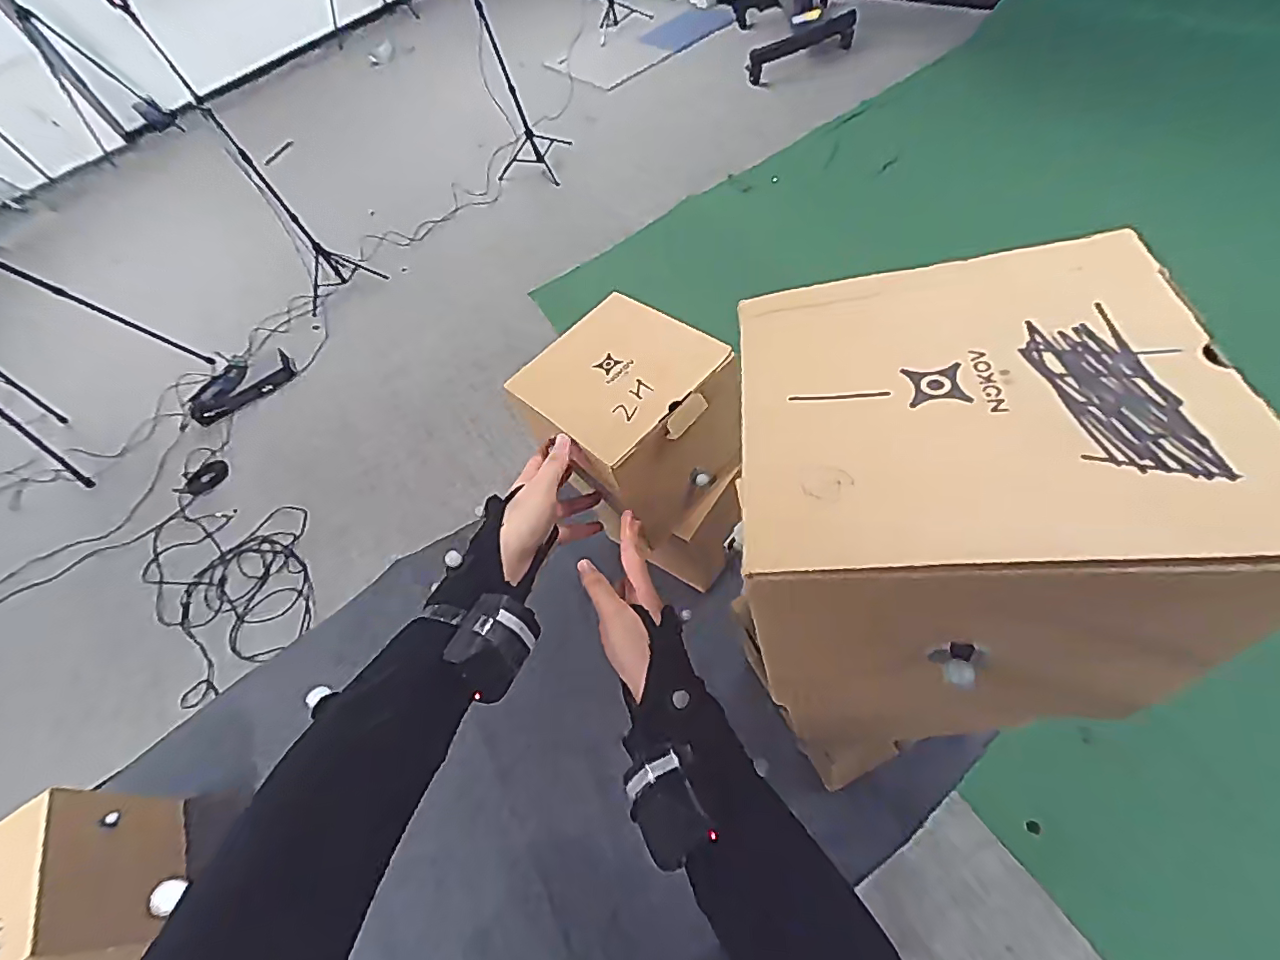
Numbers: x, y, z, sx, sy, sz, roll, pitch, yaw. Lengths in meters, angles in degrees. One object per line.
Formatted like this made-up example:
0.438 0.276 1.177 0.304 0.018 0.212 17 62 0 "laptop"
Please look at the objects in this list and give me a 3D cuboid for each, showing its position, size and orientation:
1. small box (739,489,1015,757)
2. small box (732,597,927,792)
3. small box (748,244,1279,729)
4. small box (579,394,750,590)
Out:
0.187 0.099 0.413 0.179 0.176 0.168 -13 50 10 "small box"
0.220 0.186 0.548 0.179 0.176 0.168 -30 49 -3 "small box"
0.151 0.017 0.272 0.179 0.176 0.168 -5 52 16 "small box"
0.054 0.021 0.720 0.179 0.176 0.168 27 69 28 "small box"
